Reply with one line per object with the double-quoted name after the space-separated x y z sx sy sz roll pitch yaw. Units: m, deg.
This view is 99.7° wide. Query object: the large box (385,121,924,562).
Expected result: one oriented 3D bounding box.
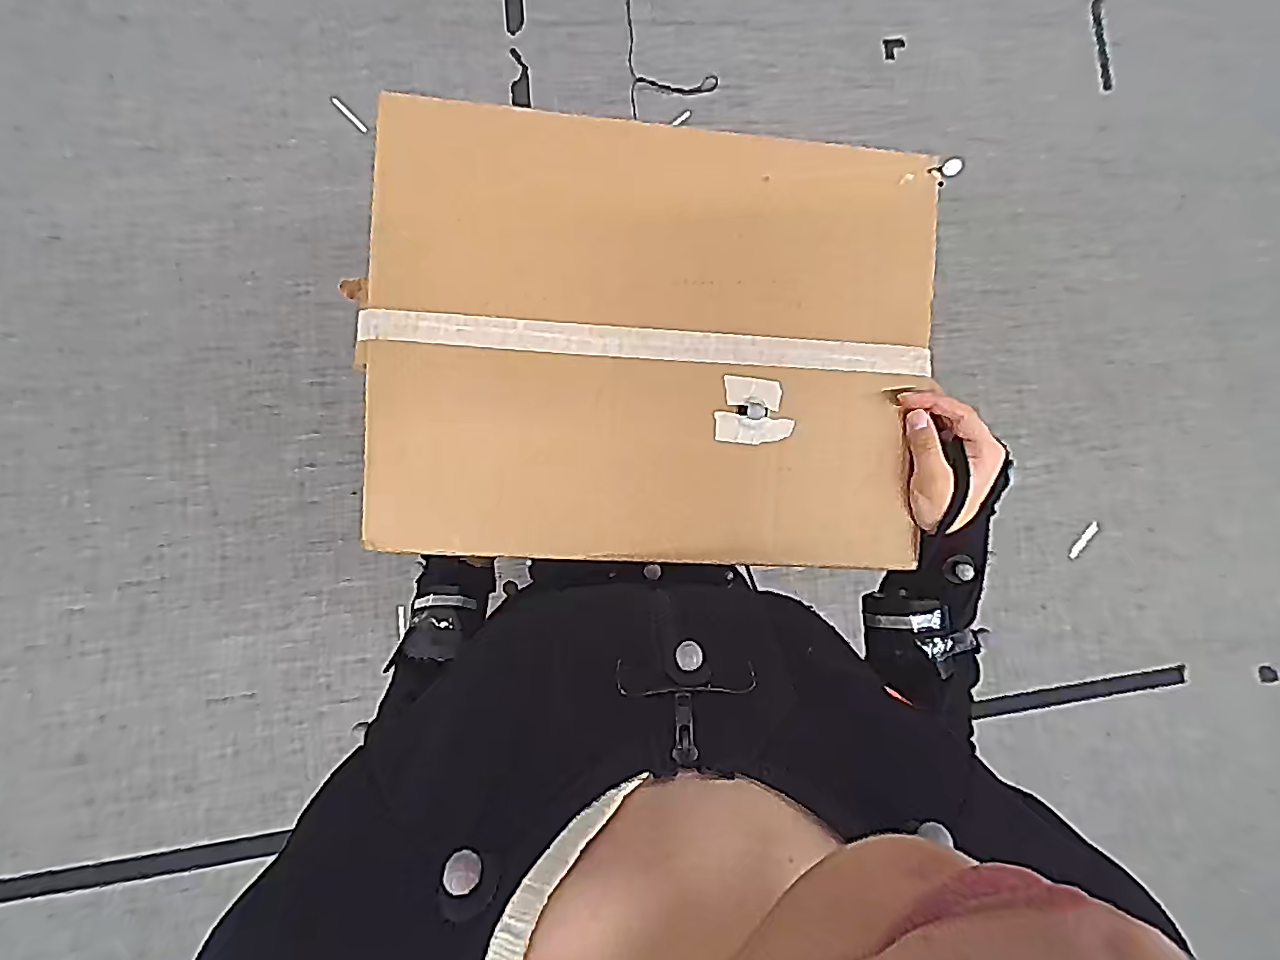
0.001 -0.096 0.546 0.408 0.320 0.320 2 92 -7 "large box"
